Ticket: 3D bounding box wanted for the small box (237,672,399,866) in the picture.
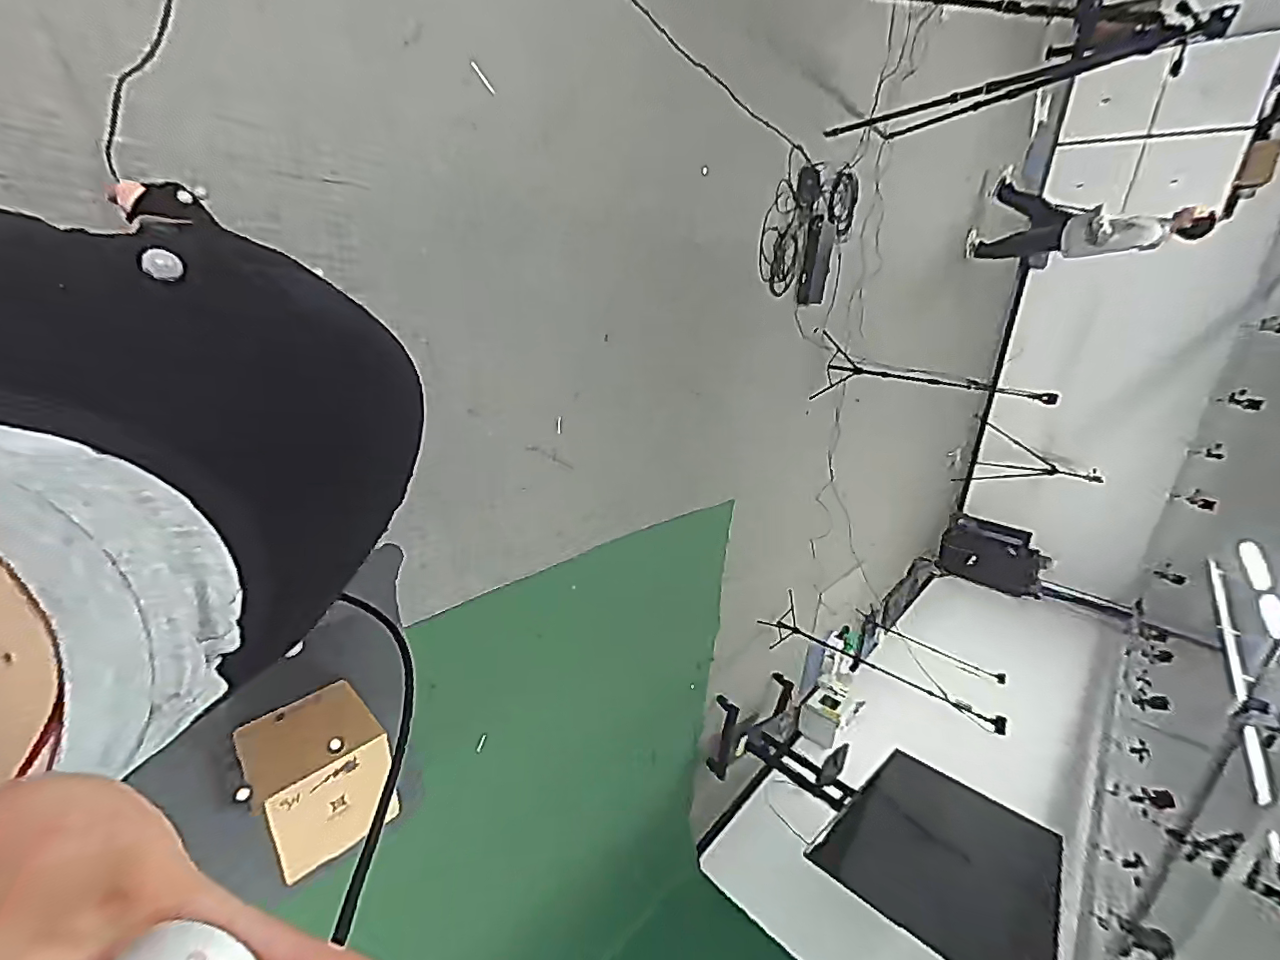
[{"bbox_3d":[-0.513,0.449,0.868,0.168,0.176,0.179,-21,123,-45],"label":"small box"}]
